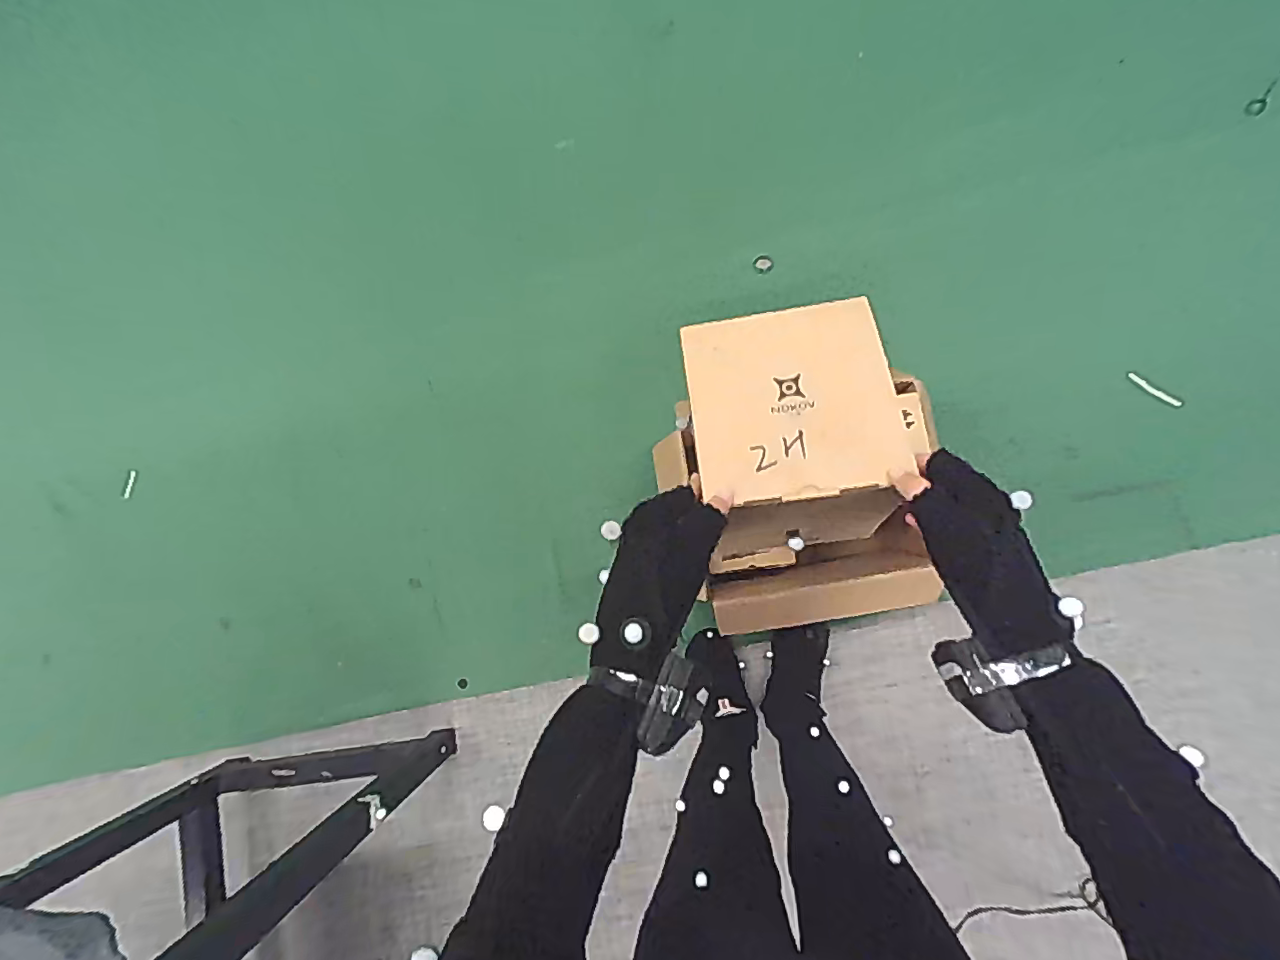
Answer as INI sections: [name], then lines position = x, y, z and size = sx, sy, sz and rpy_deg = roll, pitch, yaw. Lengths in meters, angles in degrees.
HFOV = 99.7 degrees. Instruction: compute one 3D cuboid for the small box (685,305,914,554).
[small box]
position = 0.137, -0.038, 0.530
size = 0.168, 0.176, 0.179
rpy_deg = -8, 68, 7
